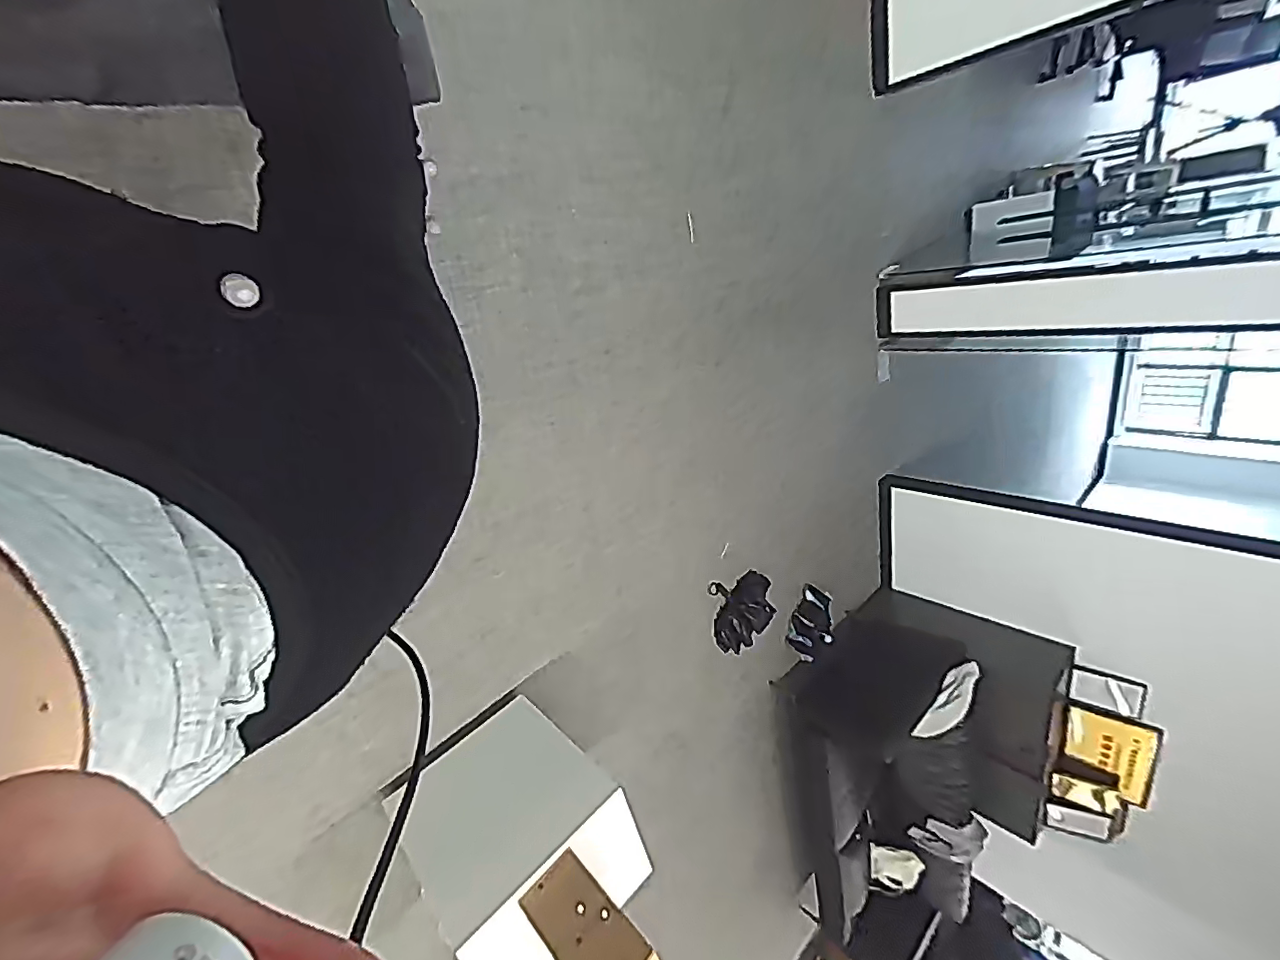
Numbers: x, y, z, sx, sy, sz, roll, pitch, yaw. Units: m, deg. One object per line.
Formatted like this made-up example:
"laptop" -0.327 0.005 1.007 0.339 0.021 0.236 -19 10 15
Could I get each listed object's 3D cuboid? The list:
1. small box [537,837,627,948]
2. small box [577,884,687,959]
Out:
"small box" -0.128 1.045 1.350 0.168 0.176 0.179 -36 124 -31
"small box" -0.019 1.076 1.230 0.168 0.176 0.179 -35 123 -31
